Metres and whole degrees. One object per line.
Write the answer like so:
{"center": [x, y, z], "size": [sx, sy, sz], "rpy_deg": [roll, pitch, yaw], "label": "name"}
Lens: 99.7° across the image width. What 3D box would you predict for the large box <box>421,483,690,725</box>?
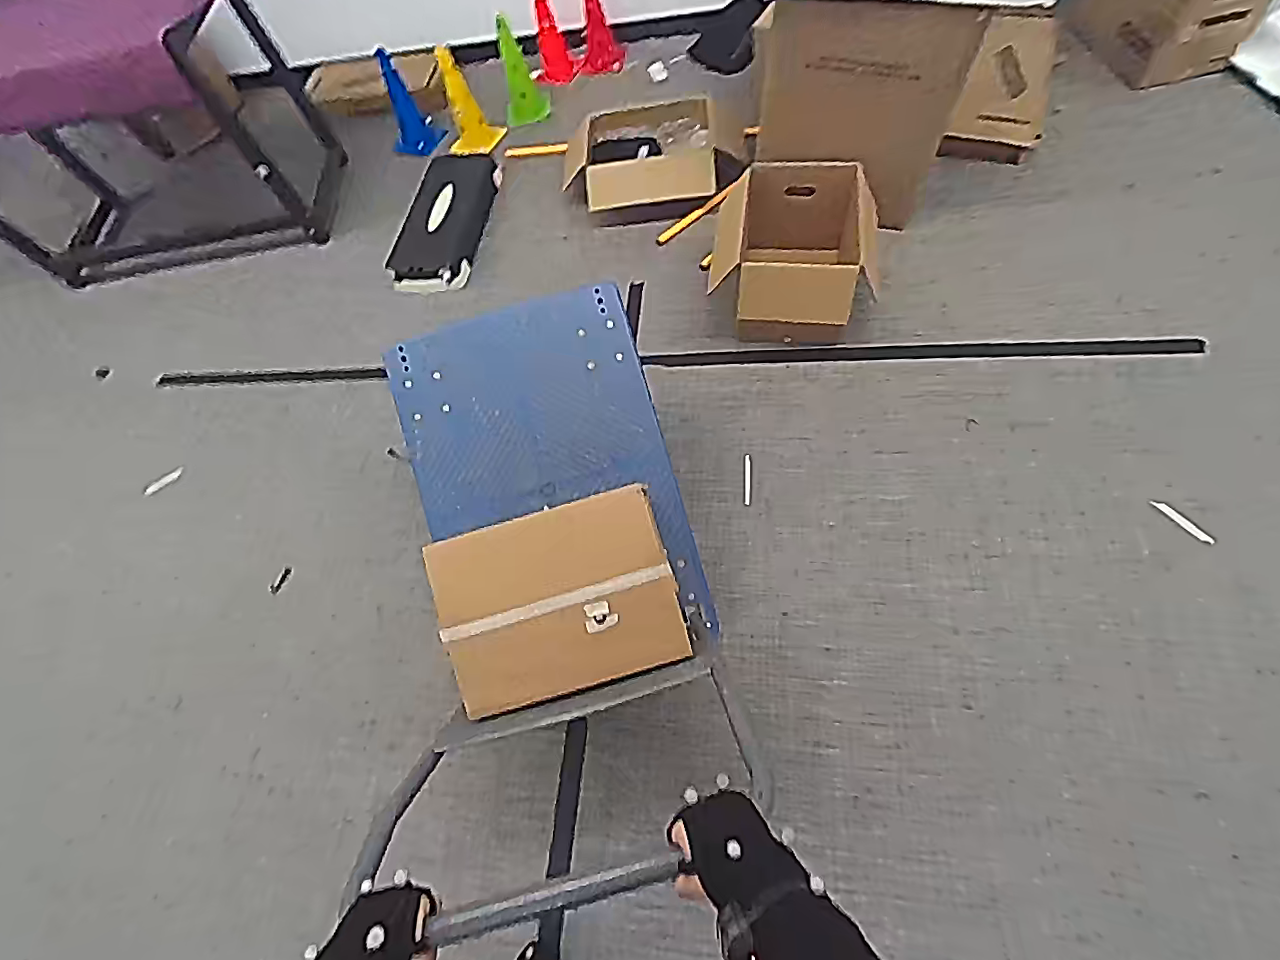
{"center": [-0.148, 0.222, 1.076], "size": [0.408, 0.320, 0.320], "rpy_deg": [-18, 87, -2], "label": "large box"}
